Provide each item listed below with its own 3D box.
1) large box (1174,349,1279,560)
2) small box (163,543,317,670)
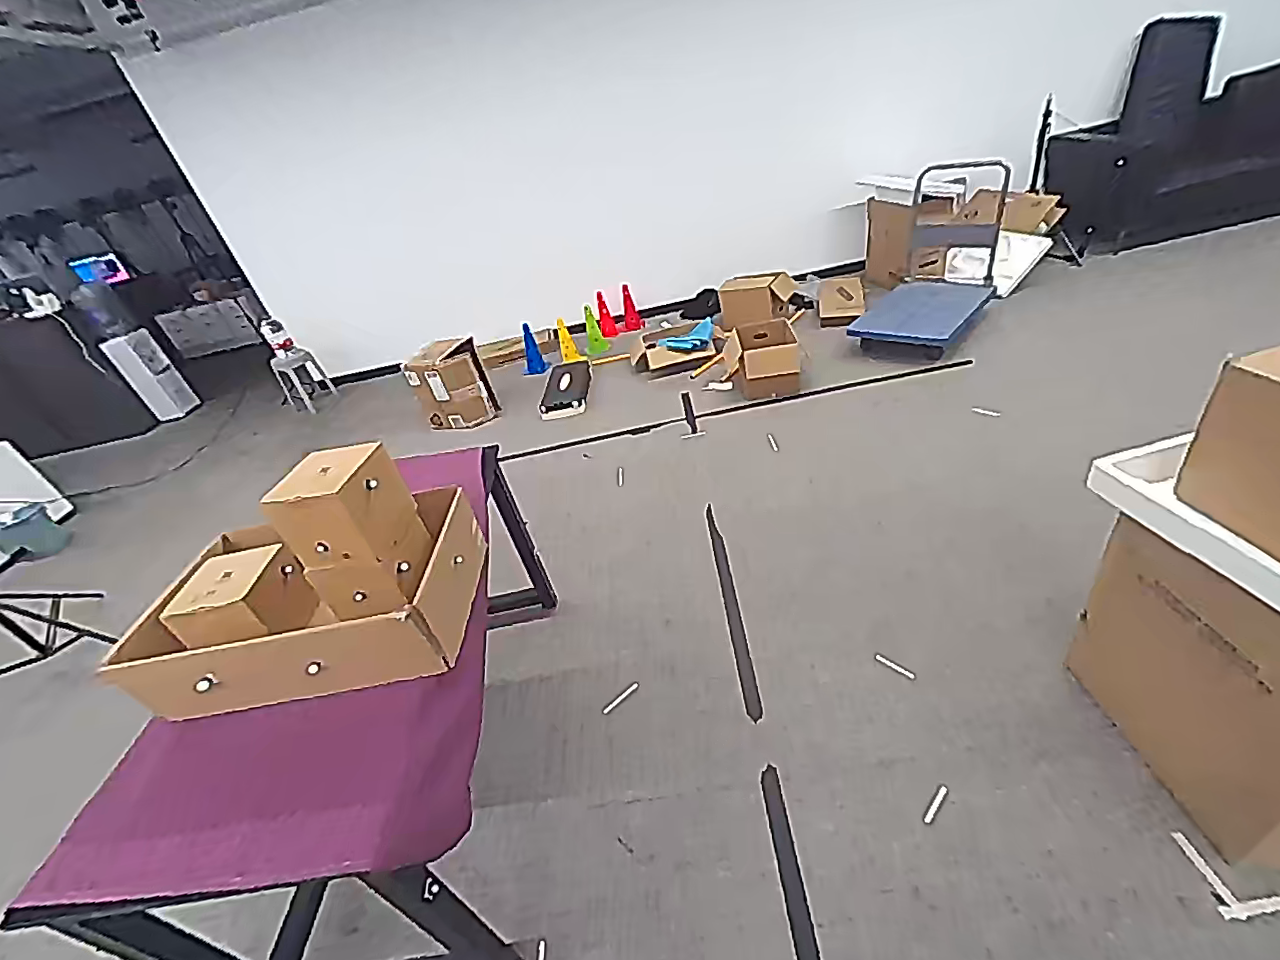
[{"bbox_3d":[1.259,-0.017,0.895,0.320,0.320,0.408,-13,32,0],"label":"large box"},{"bbox_3d":[-0.814,0.263,1.127,0.168,0.176,0.179,-12,33,1],"label":"small box"}]
